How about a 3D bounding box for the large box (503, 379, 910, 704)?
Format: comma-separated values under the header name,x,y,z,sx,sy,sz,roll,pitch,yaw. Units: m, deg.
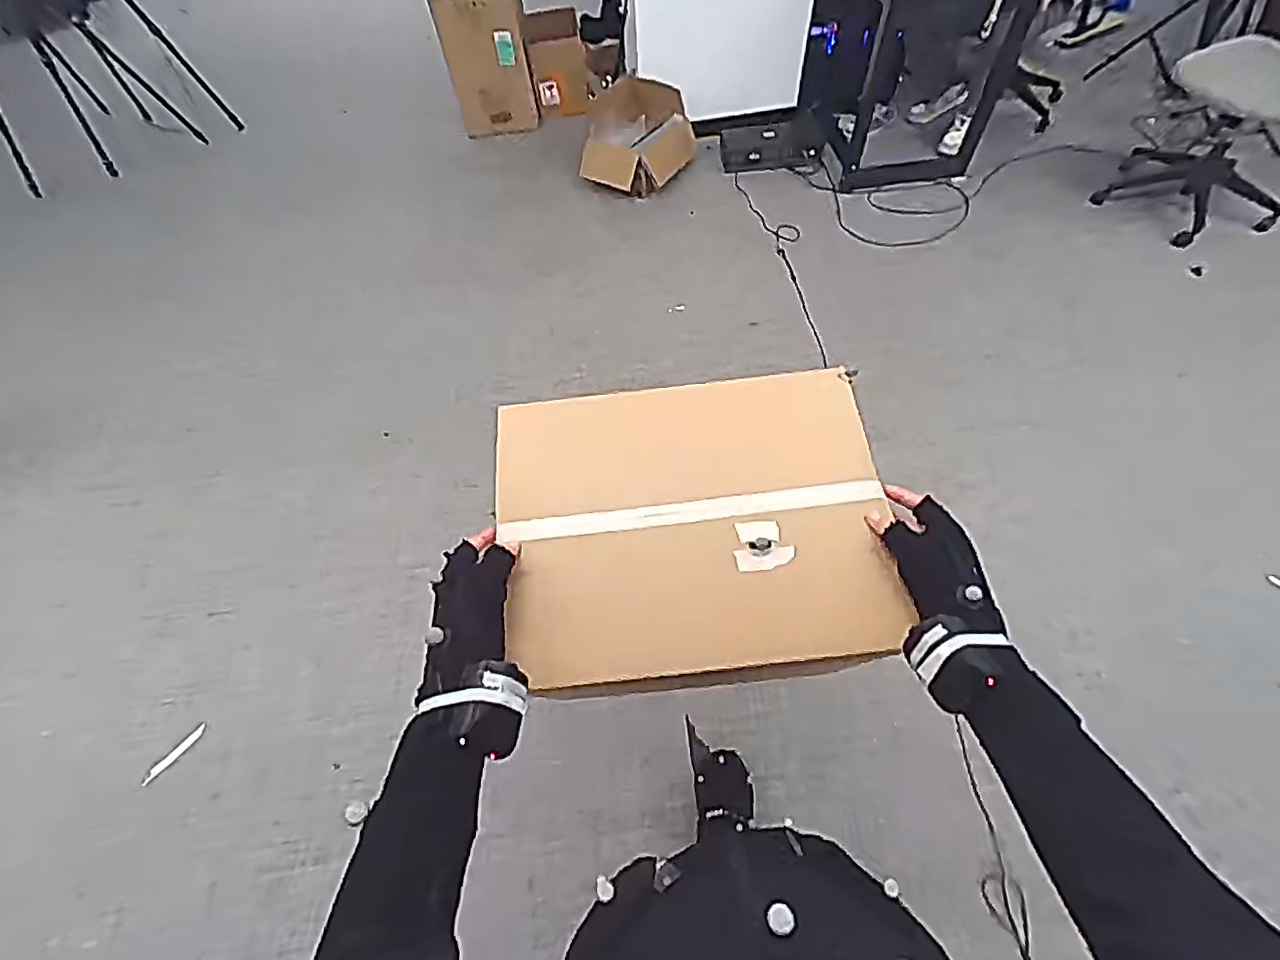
name,x,y,z,sx,sy,sz,roll,pitch,yaw
large box,0.057,0.103,0.721,0.408,0.320,0.320,-7,66,-1
